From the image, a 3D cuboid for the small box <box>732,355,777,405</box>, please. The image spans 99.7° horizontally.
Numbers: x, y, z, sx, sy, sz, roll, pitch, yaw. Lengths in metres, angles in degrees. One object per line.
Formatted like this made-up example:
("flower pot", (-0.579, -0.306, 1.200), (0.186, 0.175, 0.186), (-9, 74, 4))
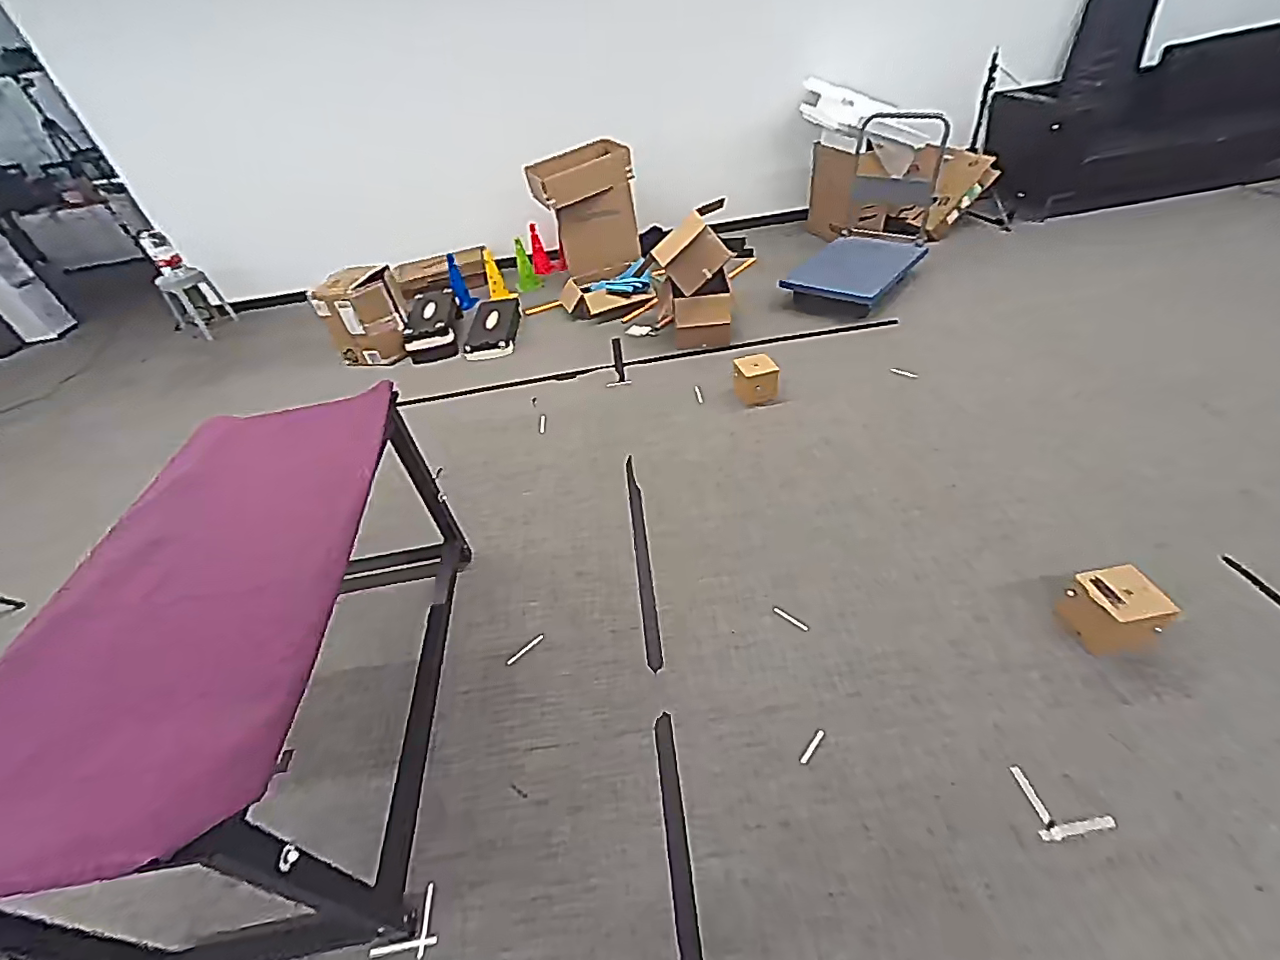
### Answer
("small box", (0.560, -0.481, 2.644), (0.168, 0.176, 0.179), (-14, 41, -5))
